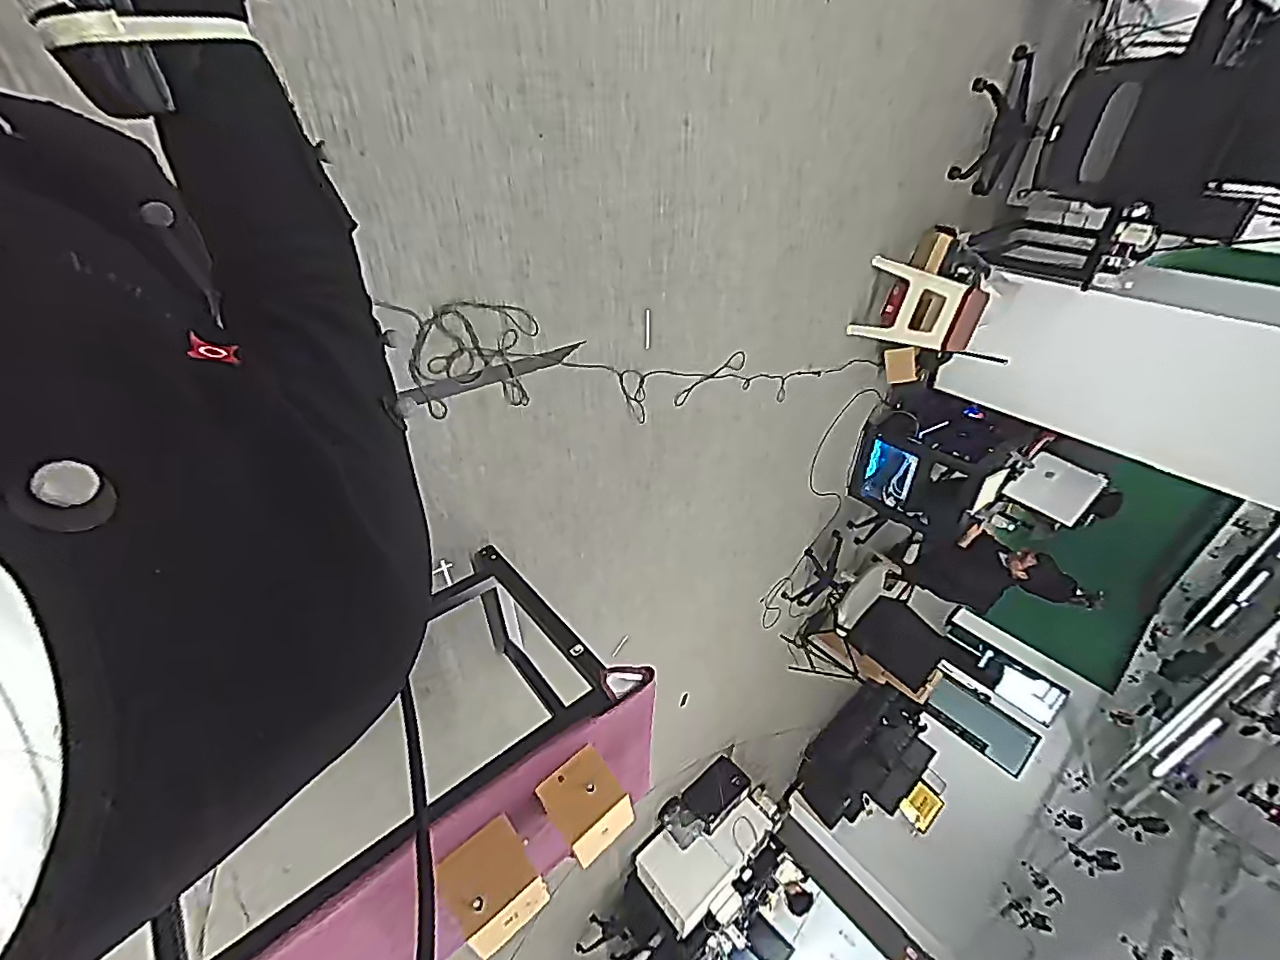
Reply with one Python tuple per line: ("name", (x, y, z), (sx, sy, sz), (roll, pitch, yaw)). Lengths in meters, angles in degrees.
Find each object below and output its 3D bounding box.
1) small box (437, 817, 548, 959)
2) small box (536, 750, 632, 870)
("small box", (-0.334, 0.912, 1.211), (0.179, 0.176, 0.168), (-29, 136, -29))
("small box", (-0.141, 0.813, 1.348), (0.168, 0.176, 0.179), (-32, 136, -27))
